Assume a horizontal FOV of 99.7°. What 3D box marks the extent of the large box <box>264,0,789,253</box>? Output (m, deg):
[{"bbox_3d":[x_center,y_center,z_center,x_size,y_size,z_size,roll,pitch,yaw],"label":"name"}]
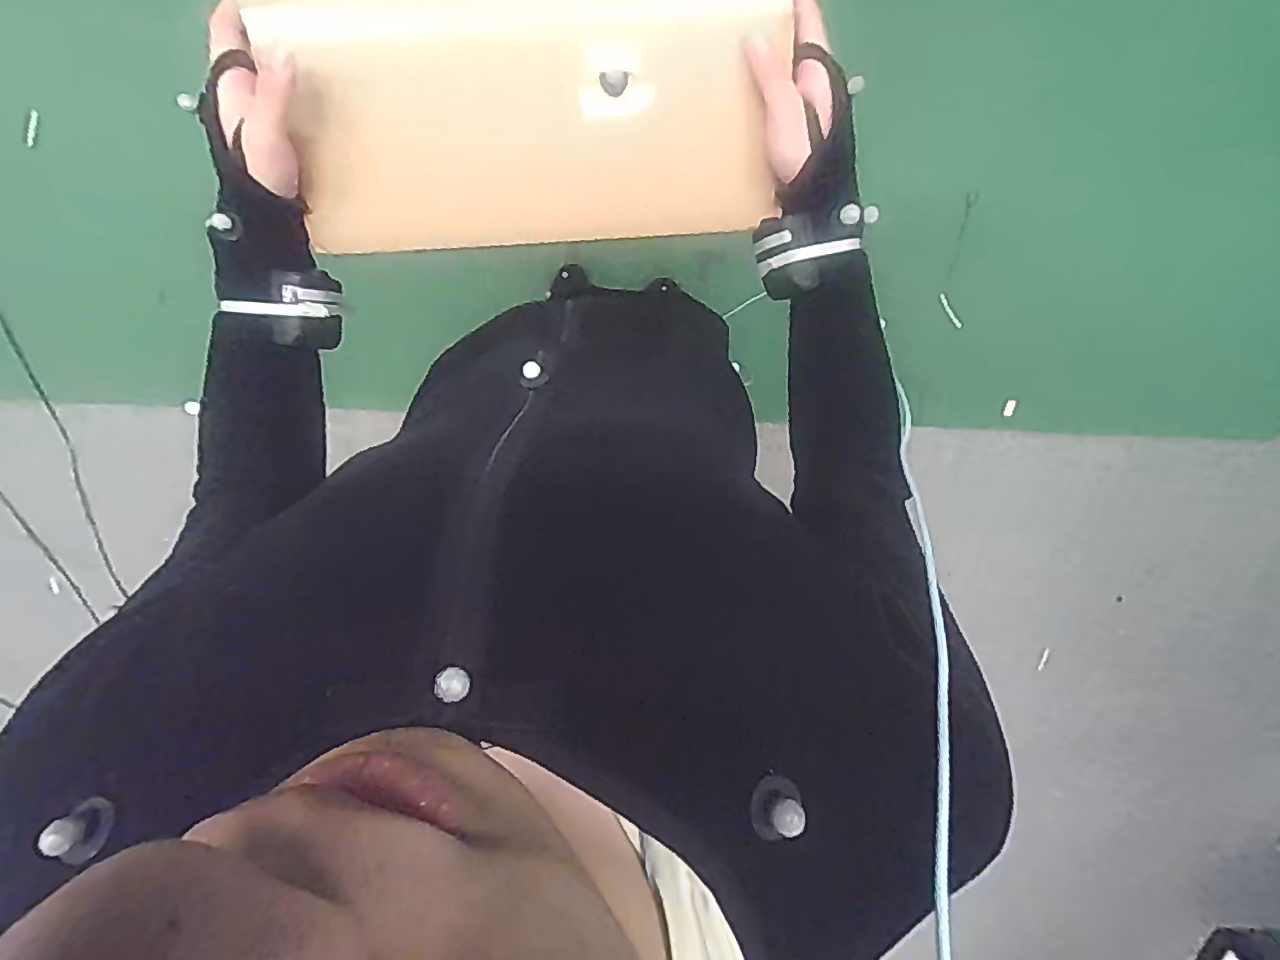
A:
[{"bbox_3d":[-0.091,-0.417,0.546,0.408,0.320,0.320,-4,117,-1],"label":"large box"}]
